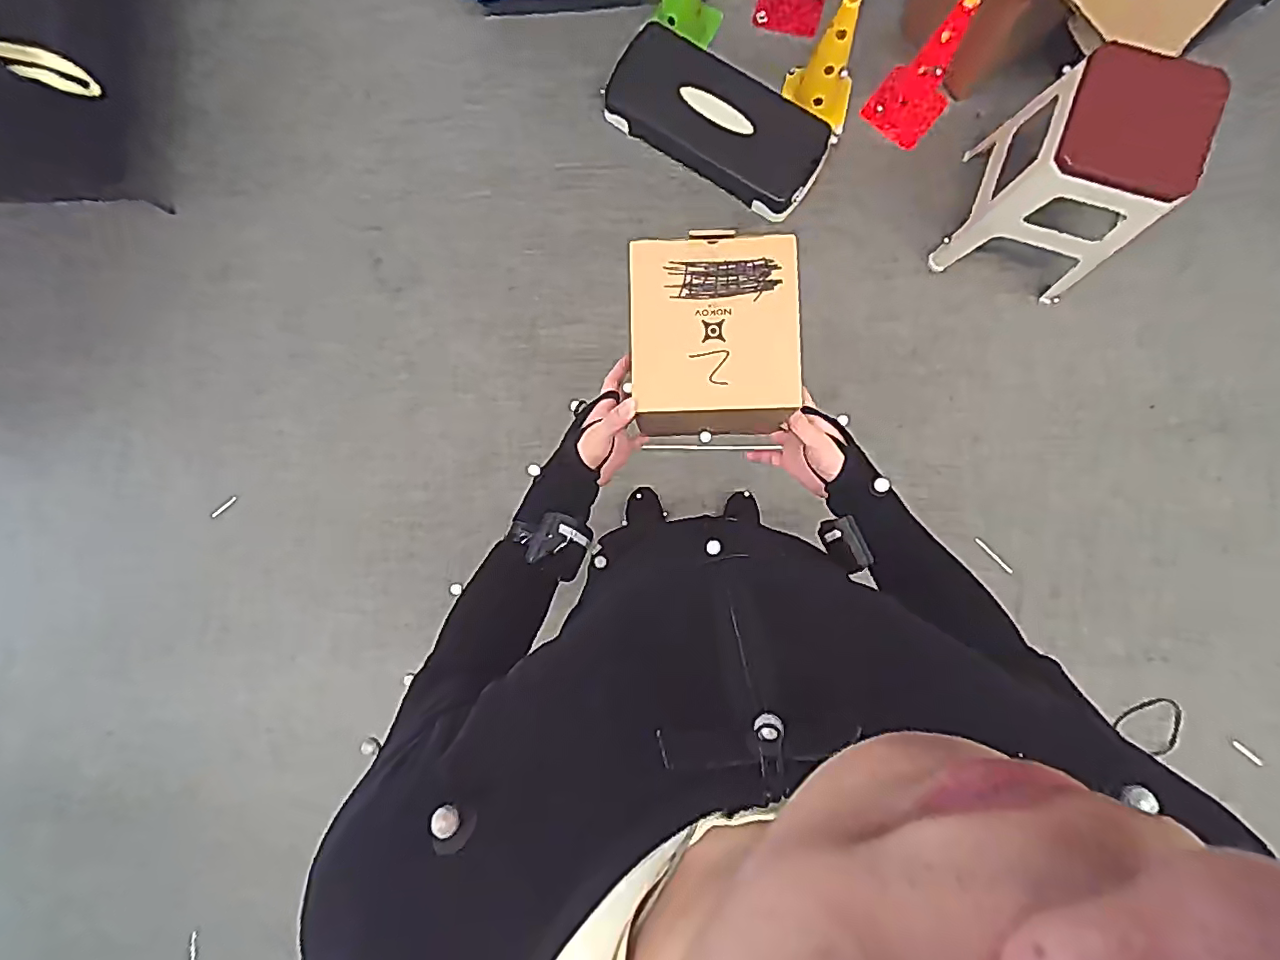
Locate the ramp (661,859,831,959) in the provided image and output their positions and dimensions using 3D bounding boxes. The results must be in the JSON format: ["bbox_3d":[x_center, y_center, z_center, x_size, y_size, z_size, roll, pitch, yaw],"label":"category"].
[{"bbox_3d":[0.299,1.626,1.509,0.509,0.206,0.991,-2,88,5],"label":"ramp"}]
